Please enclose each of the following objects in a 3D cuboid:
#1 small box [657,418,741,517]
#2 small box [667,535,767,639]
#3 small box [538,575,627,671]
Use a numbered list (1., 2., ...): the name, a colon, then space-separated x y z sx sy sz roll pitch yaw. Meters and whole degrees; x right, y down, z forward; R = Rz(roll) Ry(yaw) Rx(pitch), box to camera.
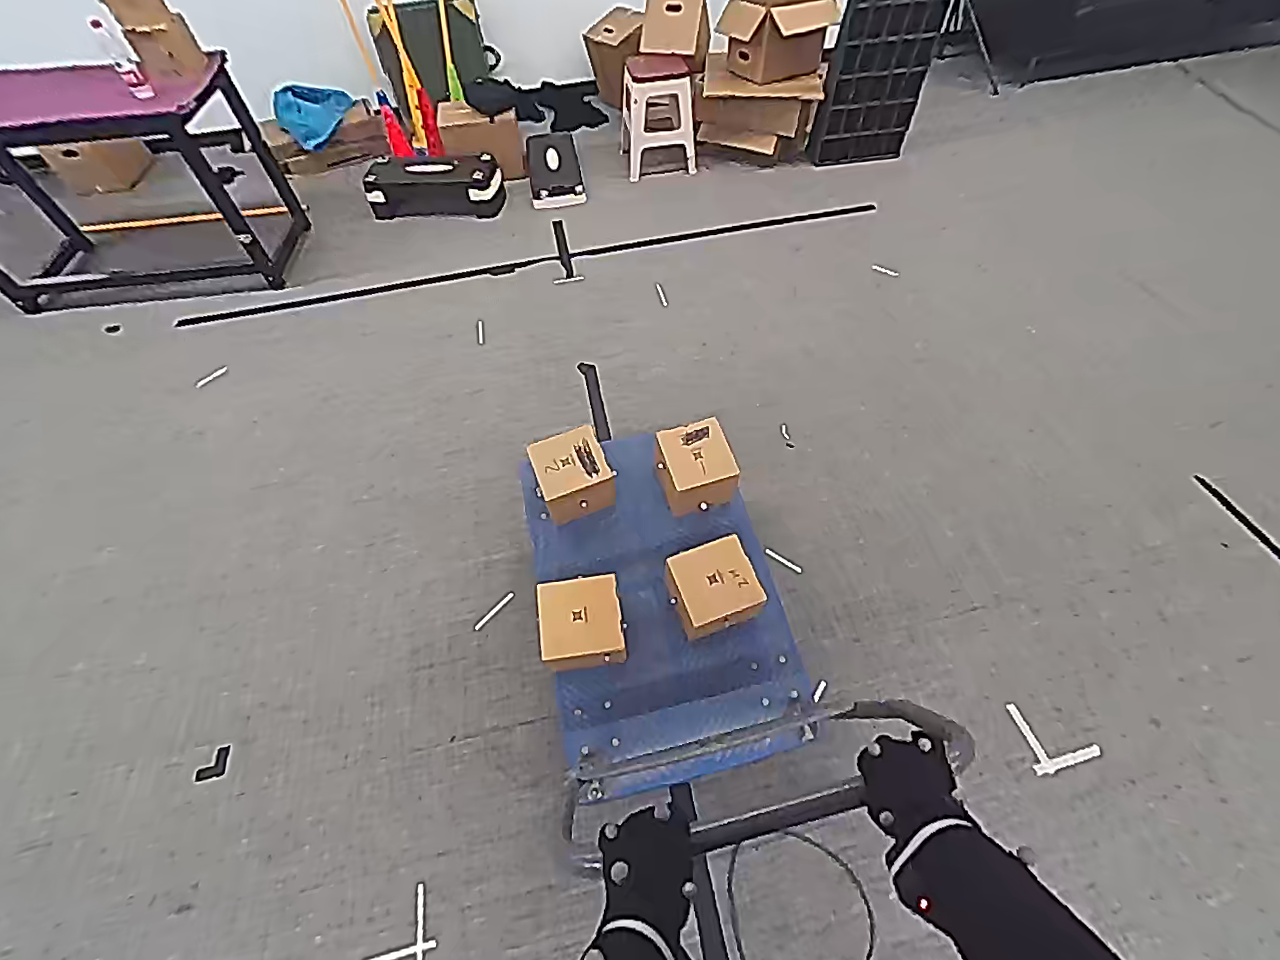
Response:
1. small box: 0.145 -0.029 1.408 0.168 0.176 0.179 -16 65 -7
2. small box: 0.171 0.256 1.262 0.179 0.176 0.168 -19 64 -8
3. small box: -0.127 0.330 1.231 0.179 0.176 0.168 -8 63 -5
